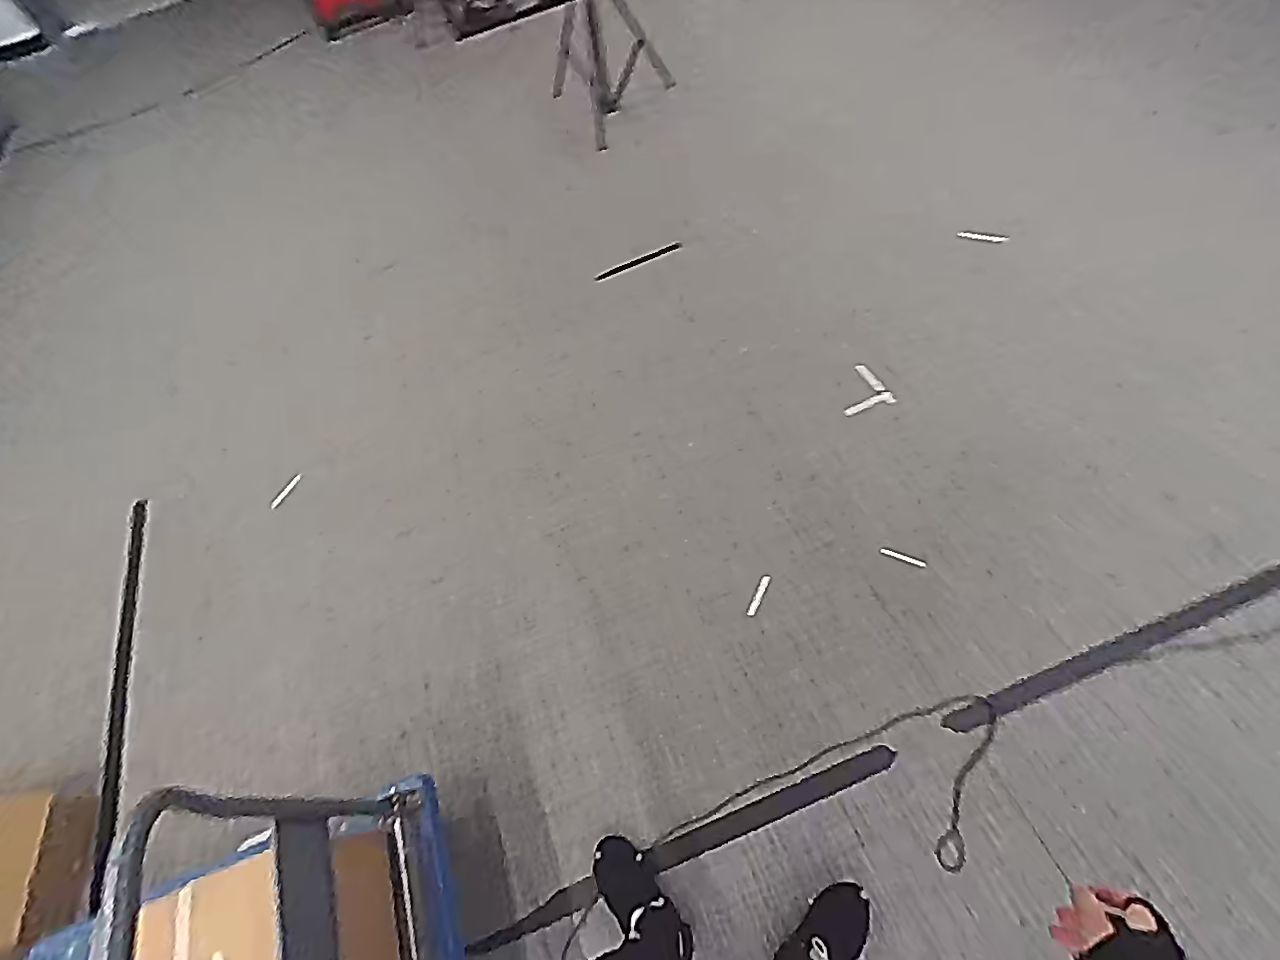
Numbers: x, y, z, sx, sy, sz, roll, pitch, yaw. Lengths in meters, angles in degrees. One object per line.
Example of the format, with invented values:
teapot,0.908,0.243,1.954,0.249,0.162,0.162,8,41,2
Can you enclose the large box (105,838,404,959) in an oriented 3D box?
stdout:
large box,-0.612,0.887,0.896,0.320,0.320,0.408,-23,58,-4
